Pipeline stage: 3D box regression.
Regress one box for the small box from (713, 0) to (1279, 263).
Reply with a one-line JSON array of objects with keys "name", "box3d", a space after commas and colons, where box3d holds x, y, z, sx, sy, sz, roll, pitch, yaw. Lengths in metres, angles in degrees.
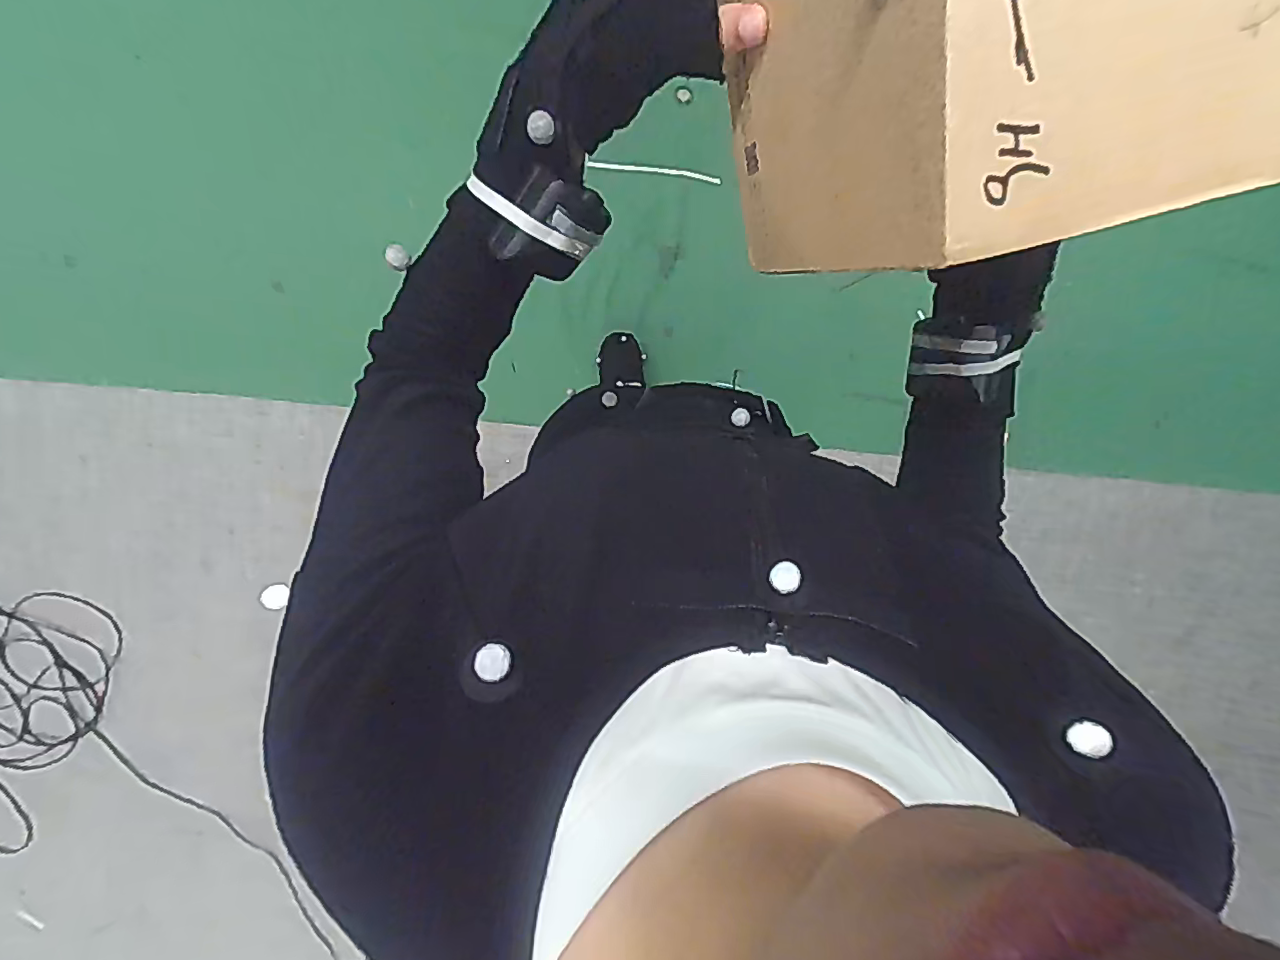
[{"name": "small box", "box3d": [0.149, -0.200, 0.239, 0.179, 0.176, 0.168, -16, 112, -9]}]
